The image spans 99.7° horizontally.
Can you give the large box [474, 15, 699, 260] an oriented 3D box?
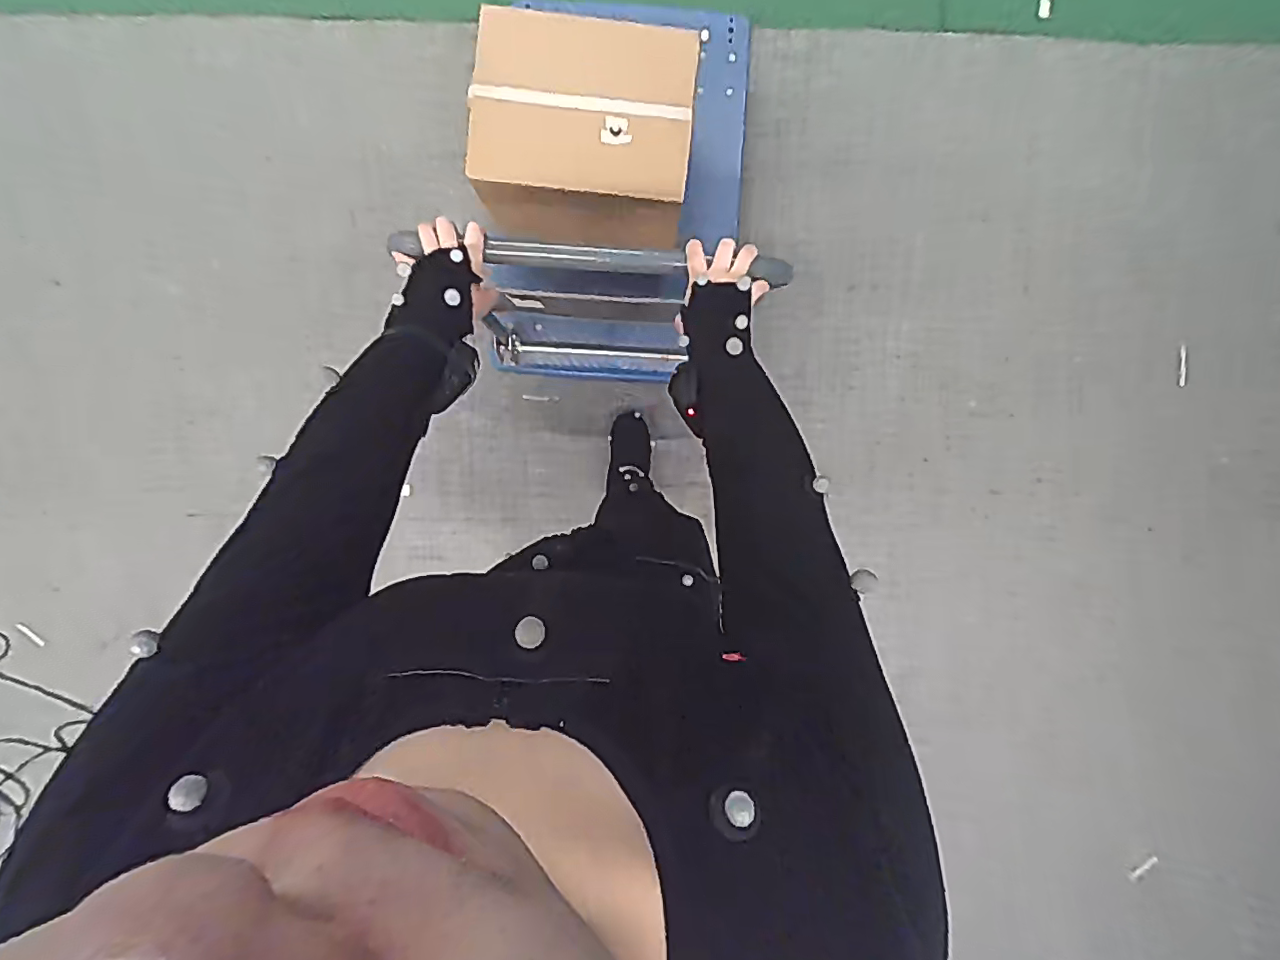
[{"bbox_3d":[-0.105,-0.695,1.155,0.408,0.320,0.320,6,92,-2],"label":"large box"}]
